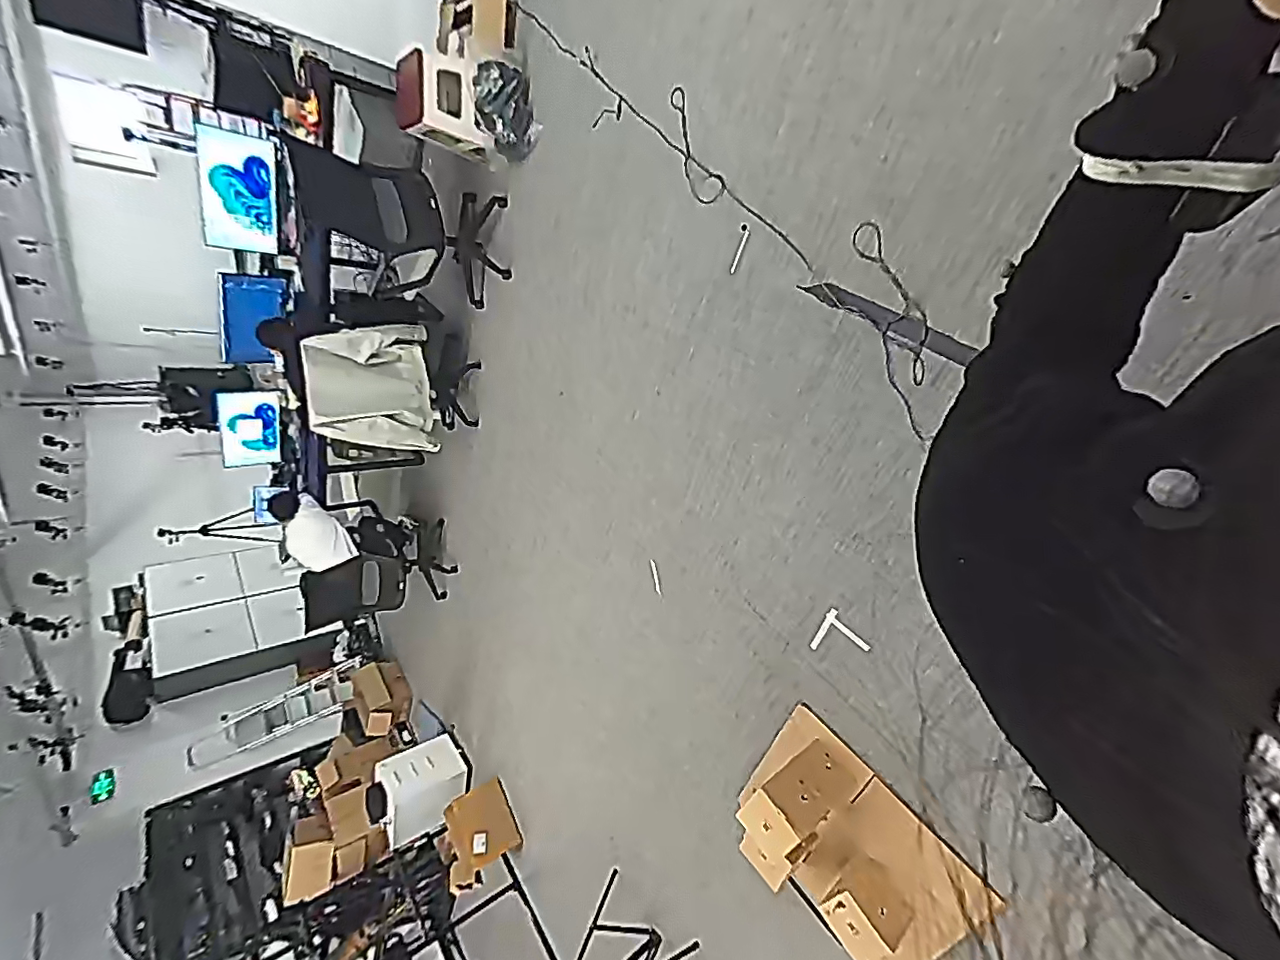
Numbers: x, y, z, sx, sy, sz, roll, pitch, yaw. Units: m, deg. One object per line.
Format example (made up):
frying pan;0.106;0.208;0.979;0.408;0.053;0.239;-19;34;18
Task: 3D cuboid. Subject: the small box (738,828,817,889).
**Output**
small box;0.478;1.255;1.881;0.179;0.176;0.168;37;124;39

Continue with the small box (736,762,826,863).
small box;0.430;1.003;1.641;0.168;0.176;0.179;45;127;34

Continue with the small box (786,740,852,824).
small box;0.552;0.986;1.748;0.168;0.176;0.179;42;125;35

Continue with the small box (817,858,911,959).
small box;0.687;1.313;1.650;0.179;0.176;0.168;49;129;29
